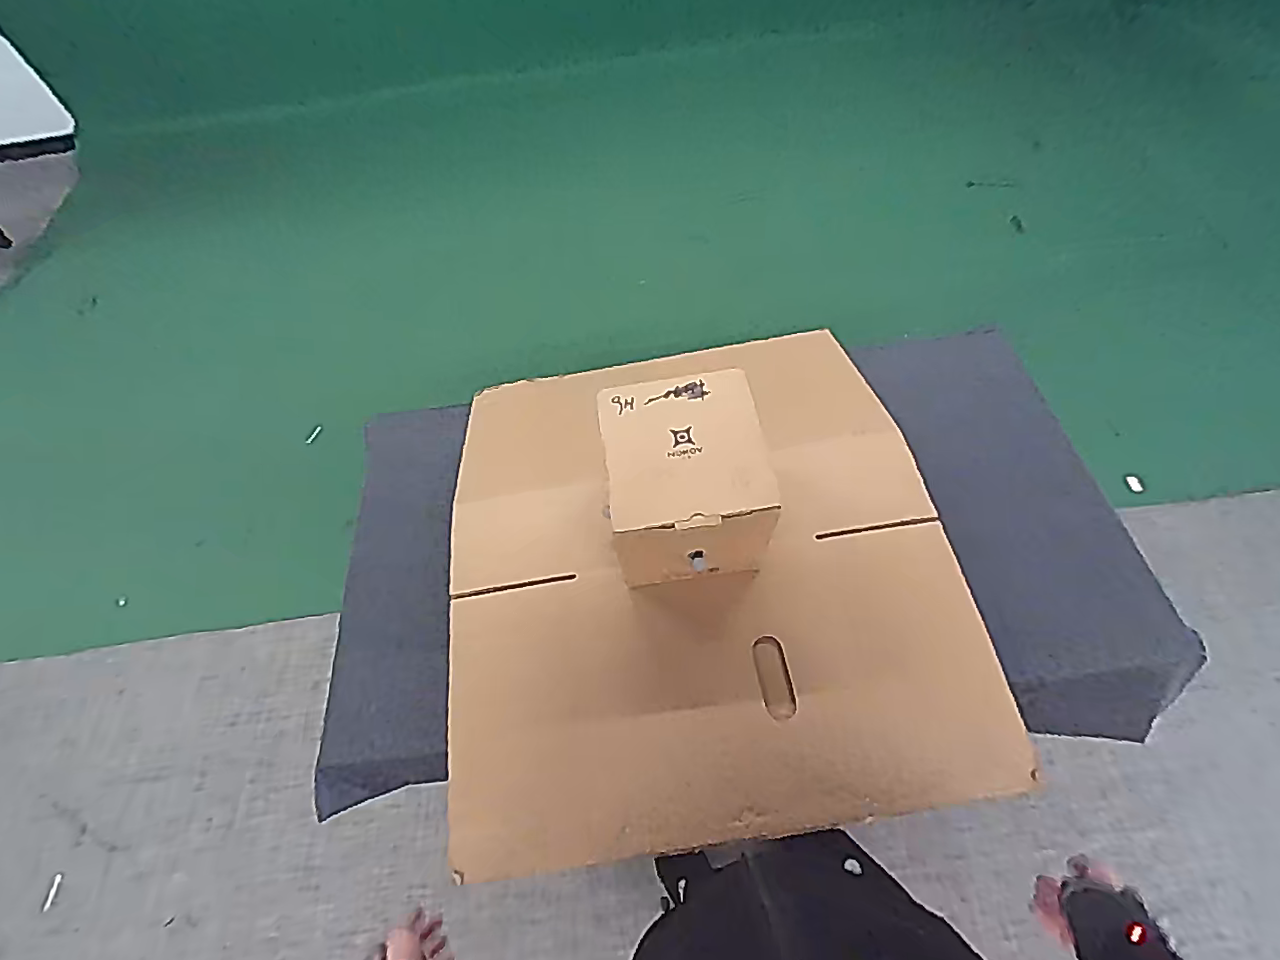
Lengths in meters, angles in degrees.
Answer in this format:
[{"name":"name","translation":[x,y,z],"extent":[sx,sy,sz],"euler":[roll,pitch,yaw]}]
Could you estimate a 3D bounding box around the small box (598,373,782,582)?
[{"name":"small box","translation":[0.054,0.008,0.628],"extent":[0.168,0.176,0.179],"euler":[-11,60,0]}]
